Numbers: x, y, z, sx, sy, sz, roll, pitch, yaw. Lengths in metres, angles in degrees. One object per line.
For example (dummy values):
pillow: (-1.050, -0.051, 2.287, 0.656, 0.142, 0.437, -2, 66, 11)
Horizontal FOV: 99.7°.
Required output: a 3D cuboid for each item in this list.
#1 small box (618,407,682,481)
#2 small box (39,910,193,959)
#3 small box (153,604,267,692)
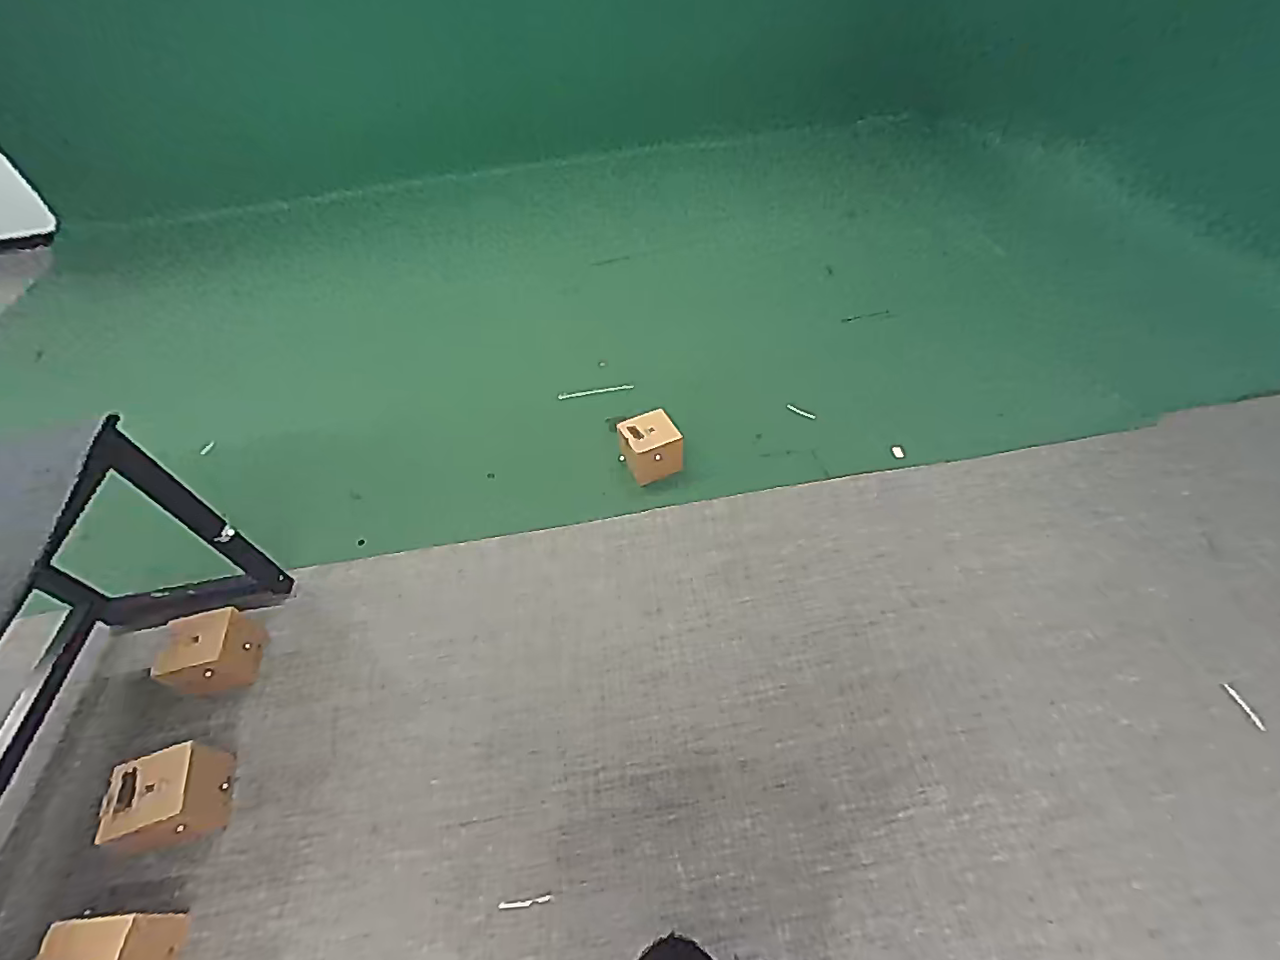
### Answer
small box: (0.041, -0.122, 1.901, 0.179, 0.176, 0.168, -22, 52, -13)
small box: (-1.083, 0.993, 1.108, 0.179, 0.176, 0.168, -7, 51, 1)
small box: (-1.207, 0.480, 1.537, 0.179, 0.176, 0.168, -14, 50, -5)
